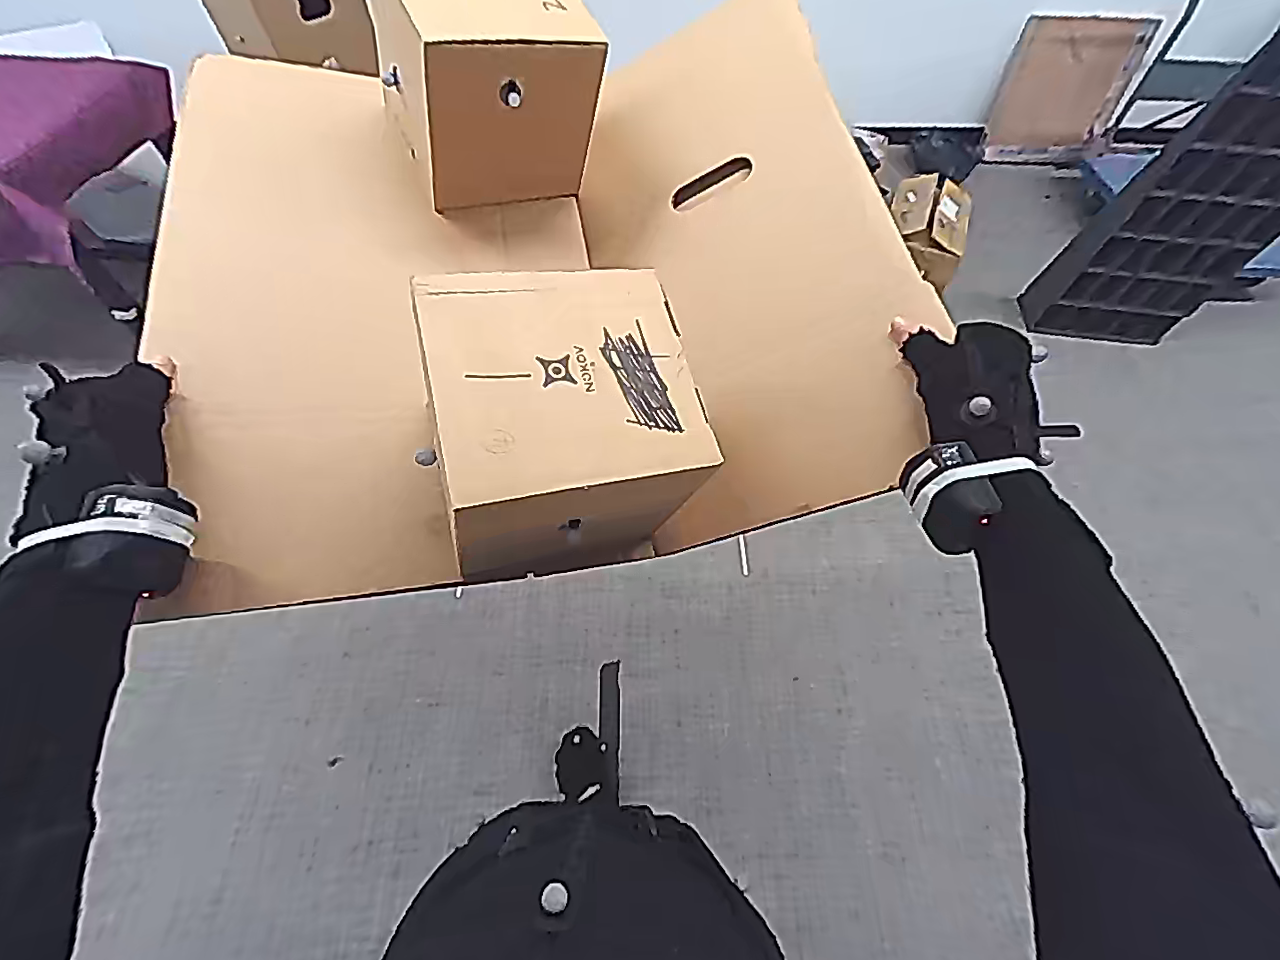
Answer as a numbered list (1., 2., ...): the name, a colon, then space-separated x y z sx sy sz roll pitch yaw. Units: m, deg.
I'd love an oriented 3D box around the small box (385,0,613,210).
1. small box: -0.153 -0.413 0.571 0.179 0.176 0.168 -19 74 -24
